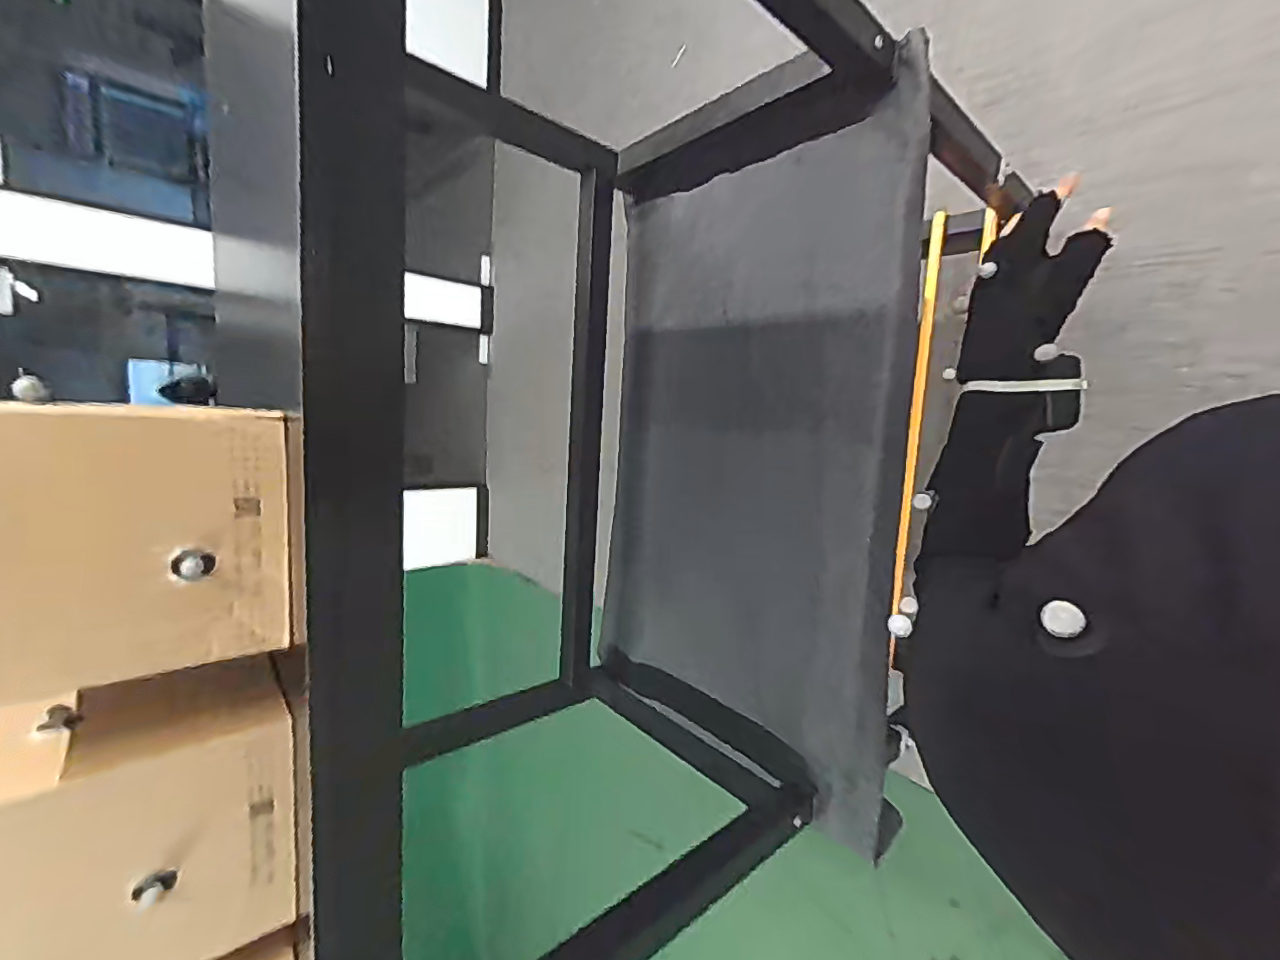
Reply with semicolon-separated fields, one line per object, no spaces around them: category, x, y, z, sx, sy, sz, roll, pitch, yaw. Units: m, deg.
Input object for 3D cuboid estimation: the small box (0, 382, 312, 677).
small box;-0.351;0.020;0.391;0.179;0.176;0.168;9;99;48
